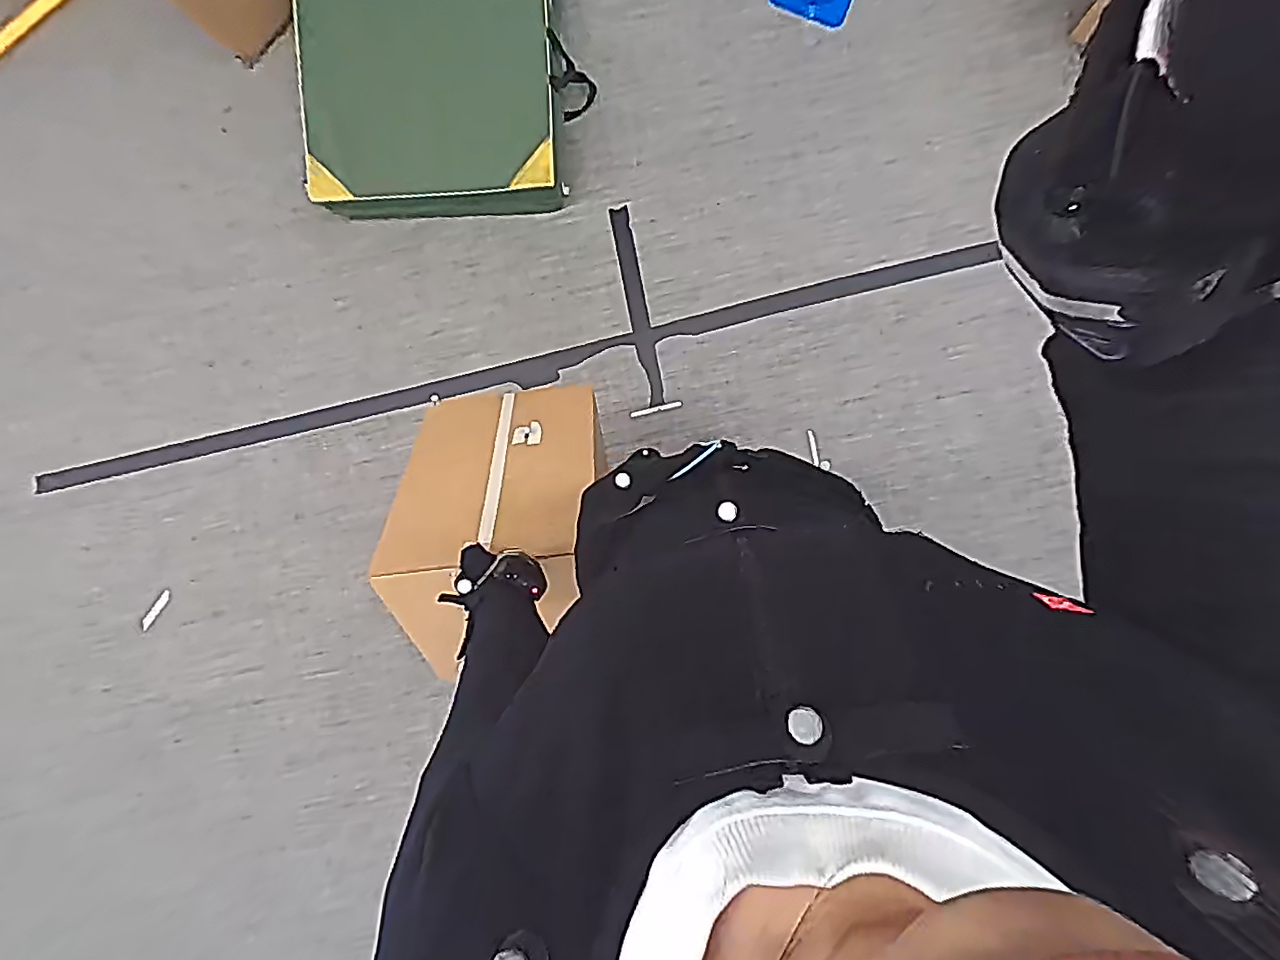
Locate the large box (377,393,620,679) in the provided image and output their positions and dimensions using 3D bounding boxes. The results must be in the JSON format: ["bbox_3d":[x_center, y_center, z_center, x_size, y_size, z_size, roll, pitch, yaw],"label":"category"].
[{"bbox_3d":[-0.216,0.094,0.992,0.320,0.408,0.320,-6,133,1],"label":"large box"}]
